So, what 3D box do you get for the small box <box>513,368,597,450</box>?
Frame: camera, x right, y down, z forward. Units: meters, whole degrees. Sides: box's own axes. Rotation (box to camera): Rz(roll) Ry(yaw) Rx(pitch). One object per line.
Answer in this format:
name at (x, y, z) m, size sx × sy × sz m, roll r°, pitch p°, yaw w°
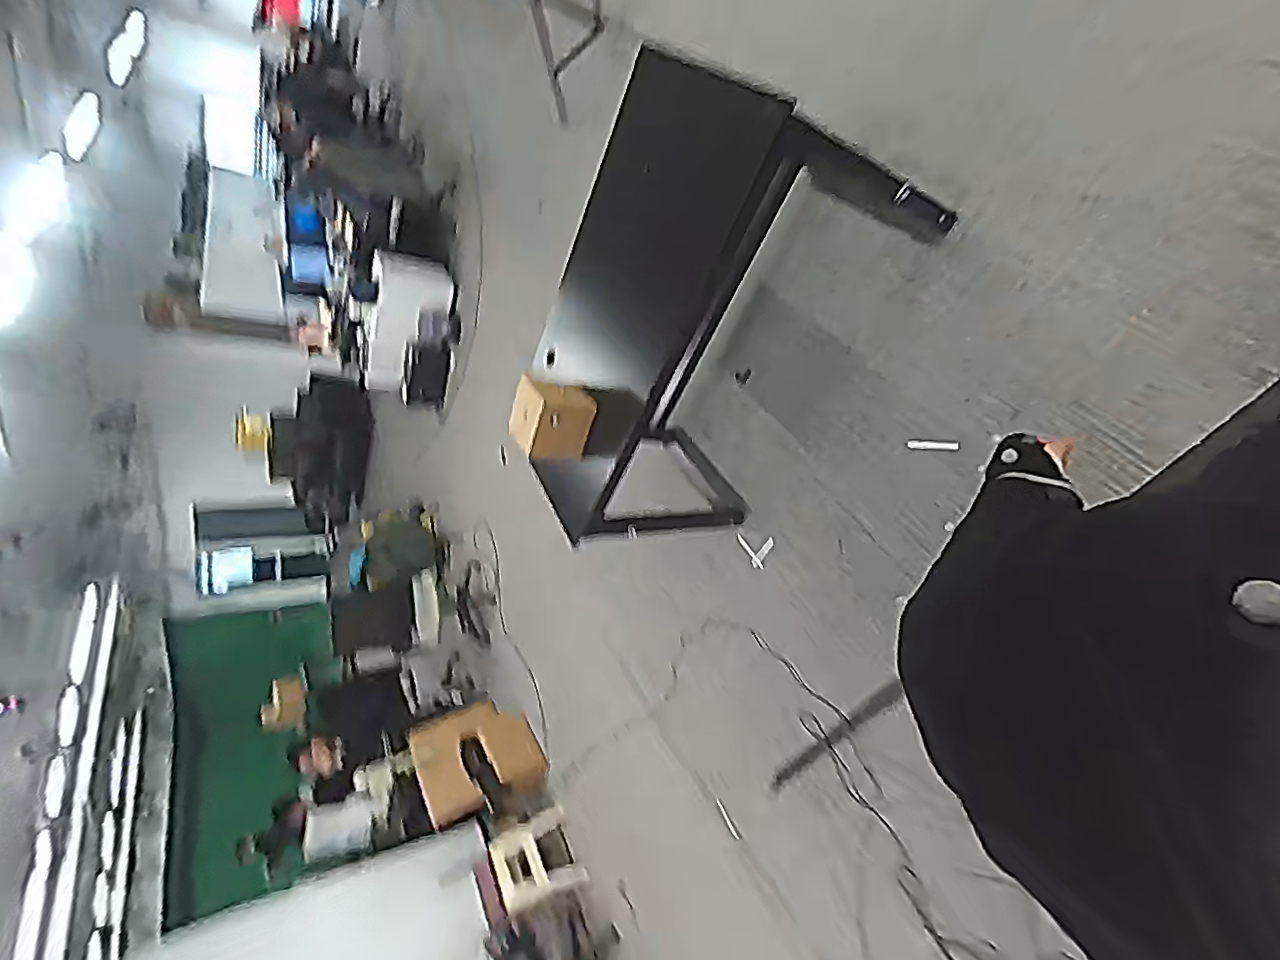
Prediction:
small box at (-0.244, -0.201, 1.560) m, size 0.168 × 0.176 × 0.179 m, roll 50°, pitch 128°, yaw 41°
